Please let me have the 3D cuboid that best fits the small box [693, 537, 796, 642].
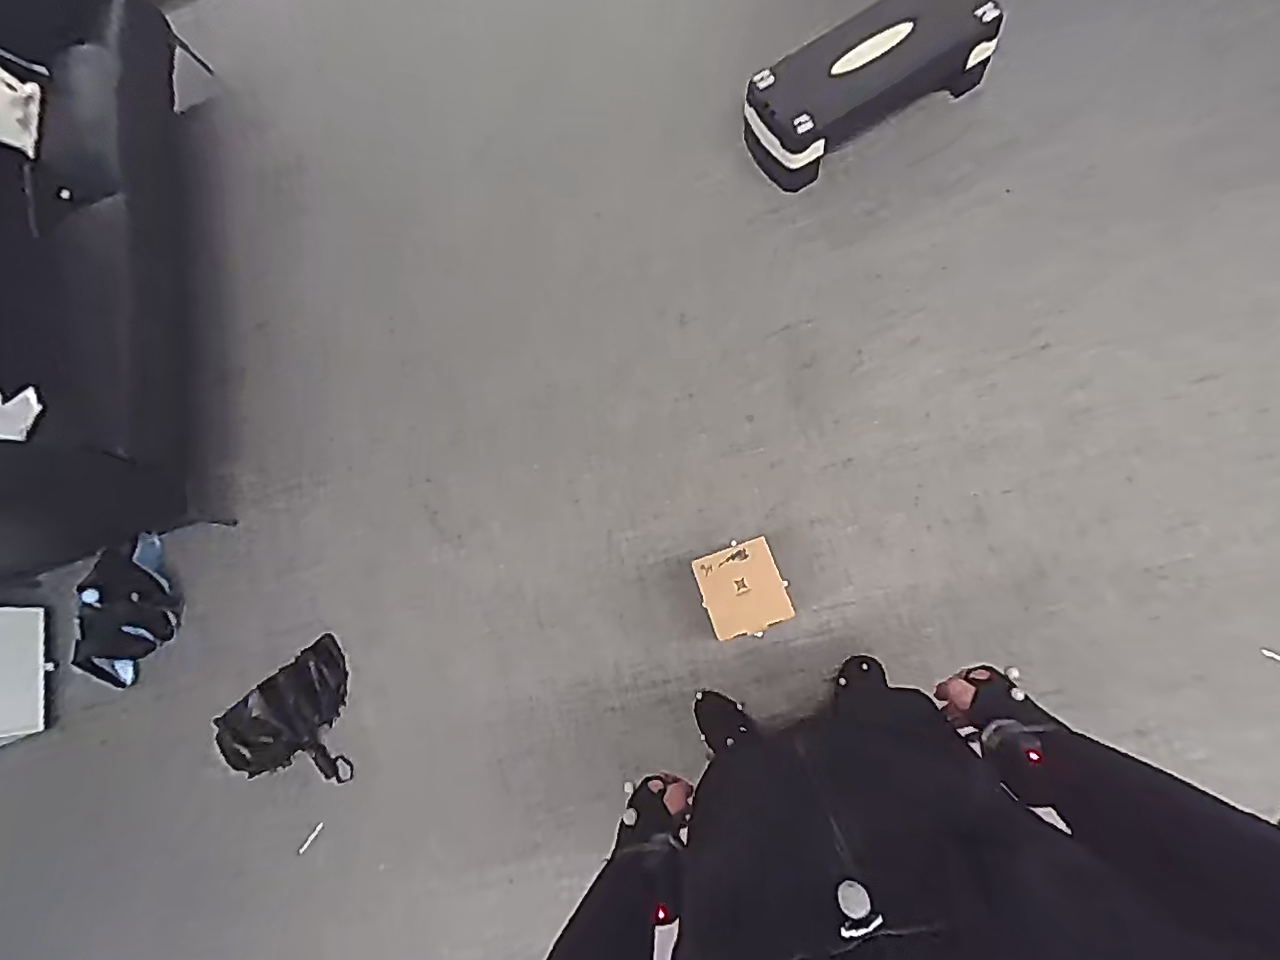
[{"bbox_3d":[0.231,0.239,1.186,0.168,0.176,0.179,-21,74,7],"label":"small box"}]
